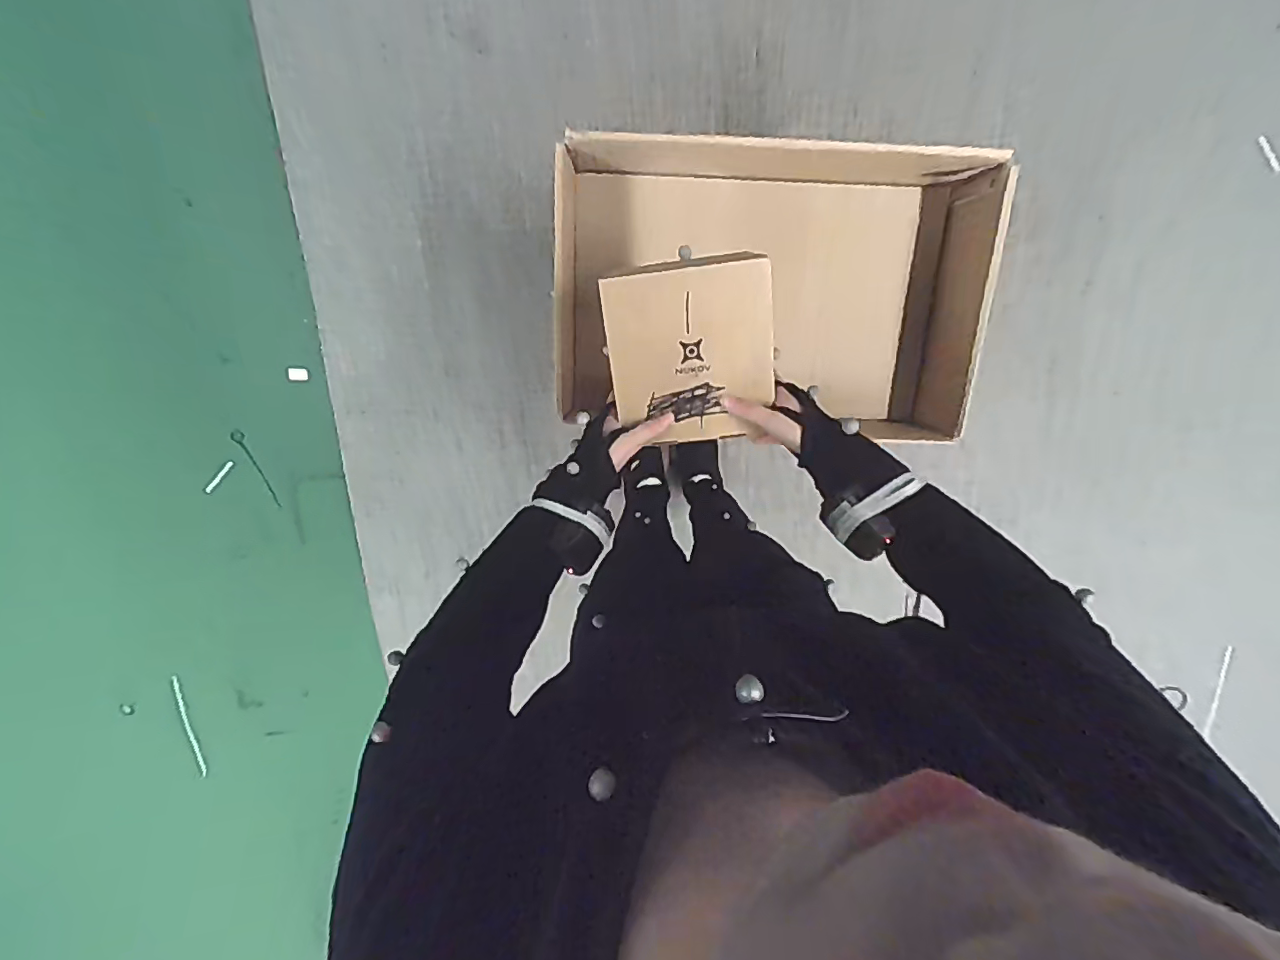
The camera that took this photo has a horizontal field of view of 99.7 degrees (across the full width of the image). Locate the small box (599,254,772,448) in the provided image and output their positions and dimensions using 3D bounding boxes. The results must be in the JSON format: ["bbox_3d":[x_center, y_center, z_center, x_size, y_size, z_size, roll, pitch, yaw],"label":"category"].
[{"bbox_3d":[0.054,-0.152,0.613,0.168,0.176,0.179,-5,113,5],"label":"small box"}]
